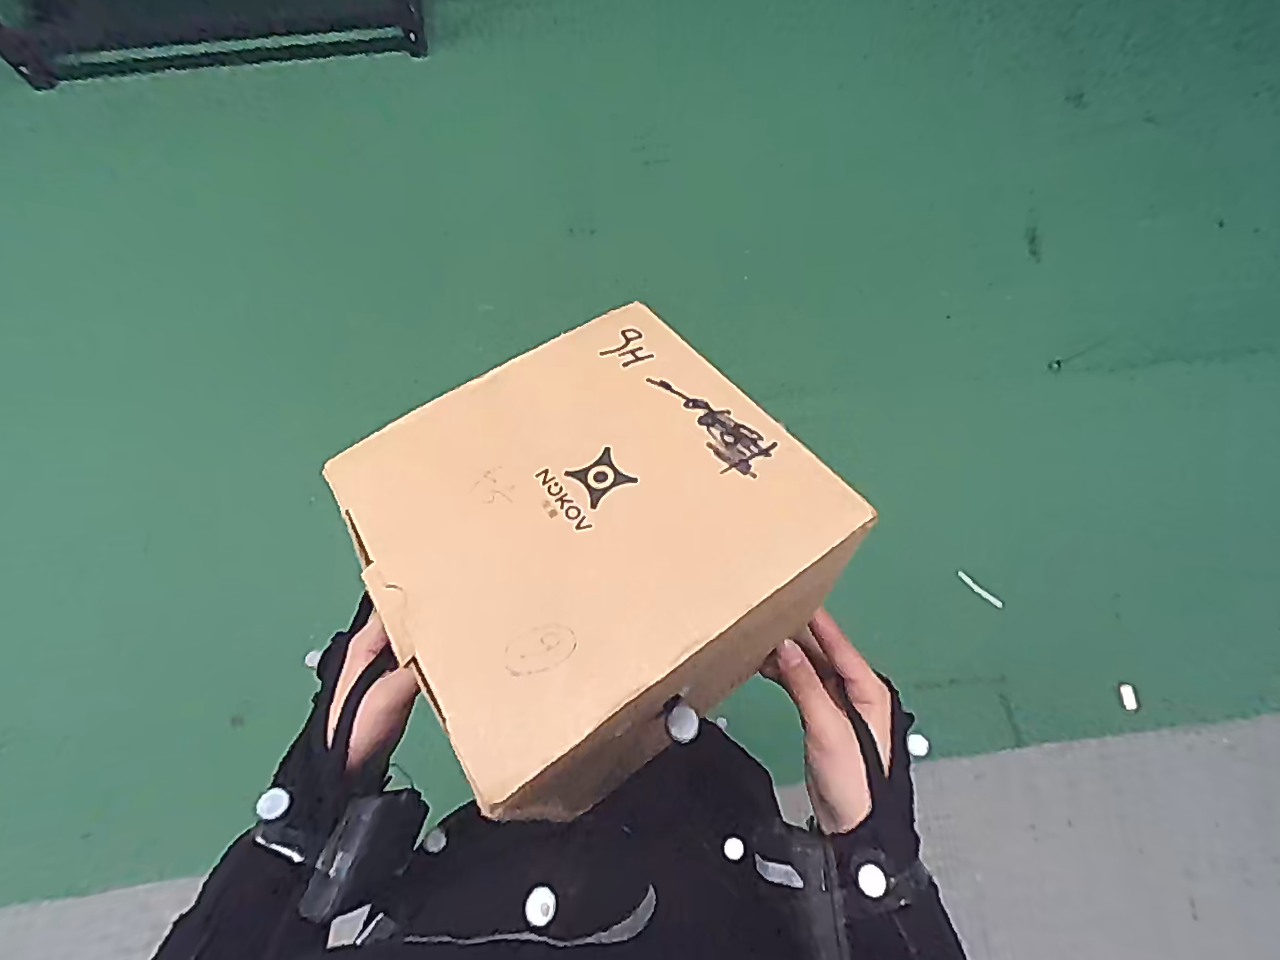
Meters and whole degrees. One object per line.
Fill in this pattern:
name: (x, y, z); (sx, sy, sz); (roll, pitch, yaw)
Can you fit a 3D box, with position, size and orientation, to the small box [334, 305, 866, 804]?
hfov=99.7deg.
small box: (-0.018, 0.047, 0.294); (0.179, 0.176, 0.168); (-32, 61, -16)
